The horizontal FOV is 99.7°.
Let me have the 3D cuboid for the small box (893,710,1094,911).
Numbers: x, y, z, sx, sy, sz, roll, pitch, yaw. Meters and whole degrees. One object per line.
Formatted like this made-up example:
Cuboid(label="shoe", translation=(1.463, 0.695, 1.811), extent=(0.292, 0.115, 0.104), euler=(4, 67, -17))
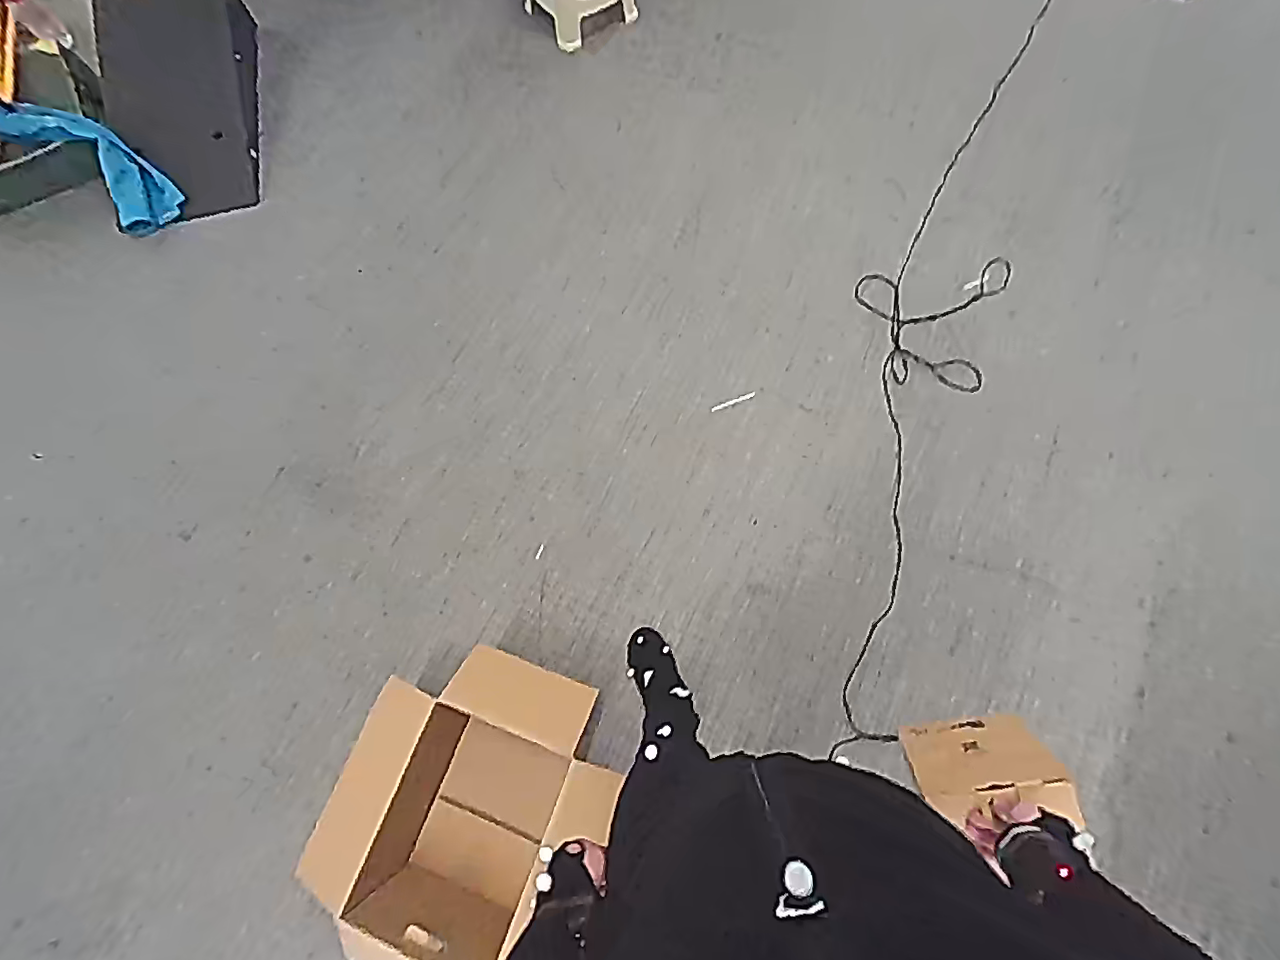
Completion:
Cuboid(label="small box", translation=(0.464, 0.441, 0.732), extent=(0.168, 0.179, 0.176), euler=(-14, 88, 16))
